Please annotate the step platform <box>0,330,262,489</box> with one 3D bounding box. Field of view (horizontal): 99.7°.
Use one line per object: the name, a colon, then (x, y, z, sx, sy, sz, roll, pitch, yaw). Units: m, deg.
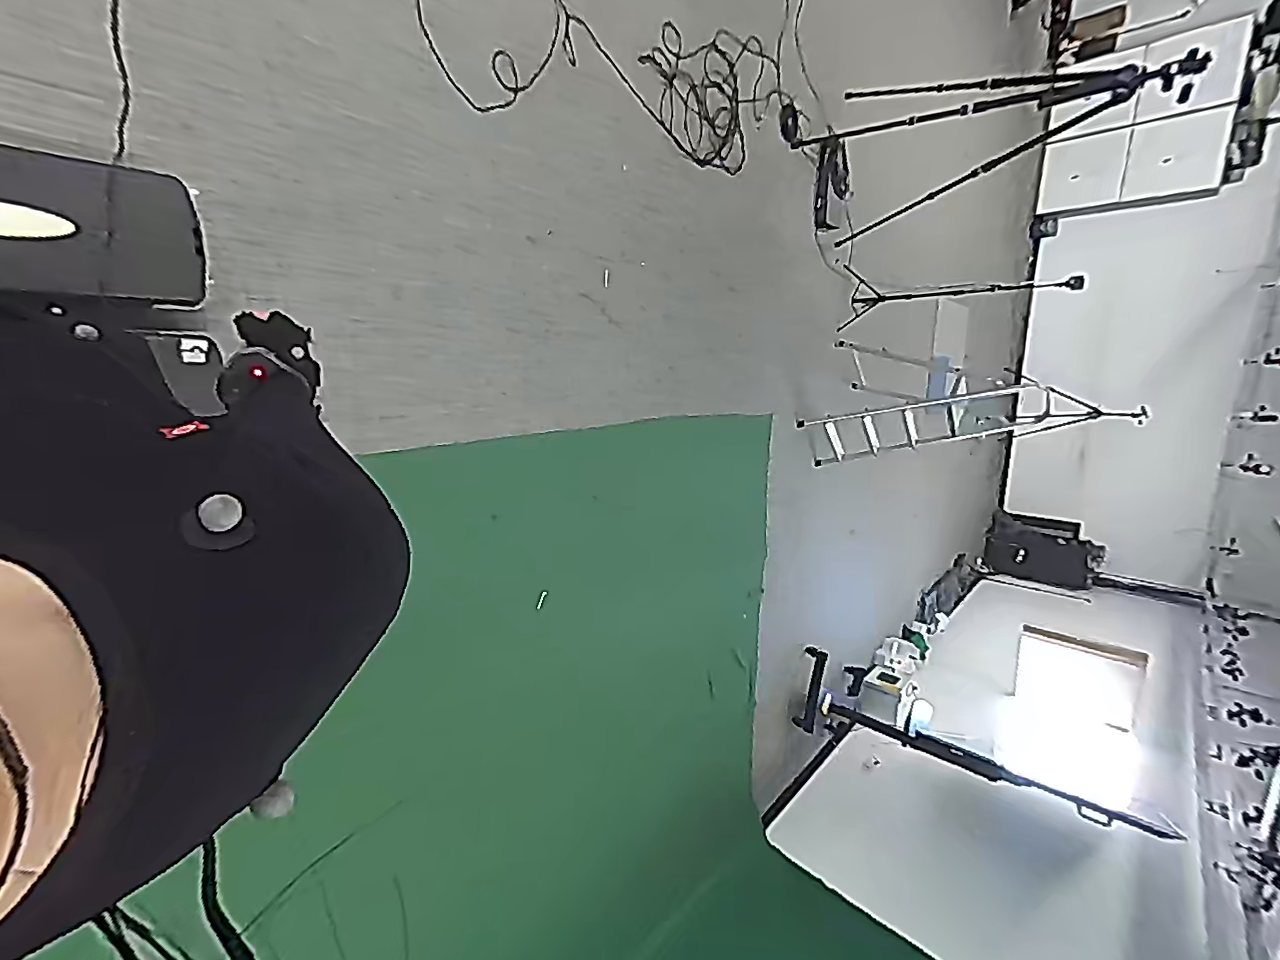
step platform: (-1.082, -0.117, 0.928, 0.684, 0.204, 0.286, -13, 108, -46)
